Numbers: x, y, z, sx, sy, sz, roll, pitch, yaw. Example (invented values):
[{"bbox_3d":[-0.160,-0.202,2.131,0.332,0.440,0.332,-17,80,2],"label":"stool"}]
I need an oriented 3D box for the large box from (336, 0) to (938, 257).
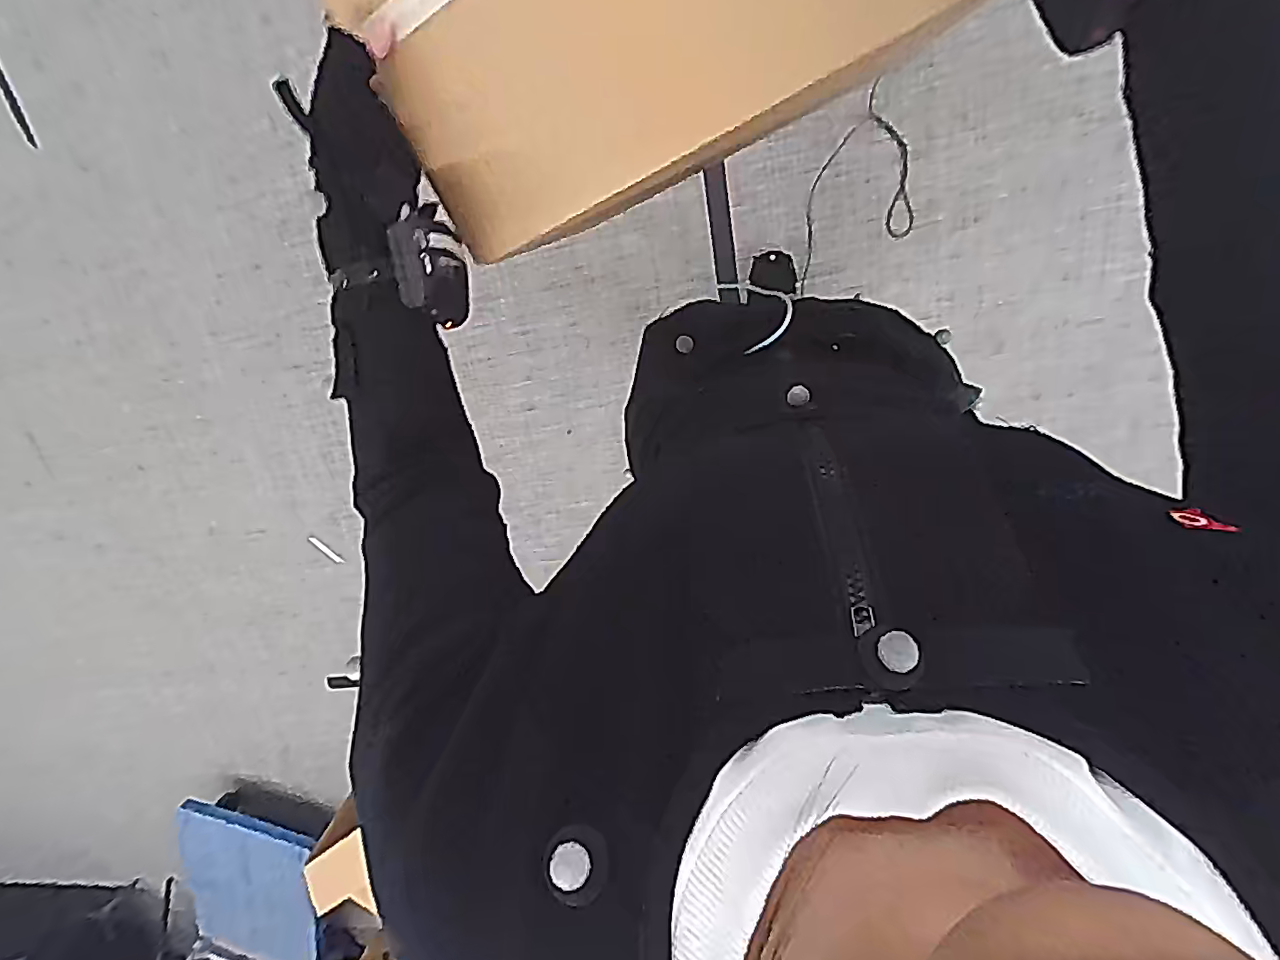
[{"bbox_3d":[0.003,-0.440,0.443,0.408,0.320,0.320,-20,114,22],"label":"large box"}]
